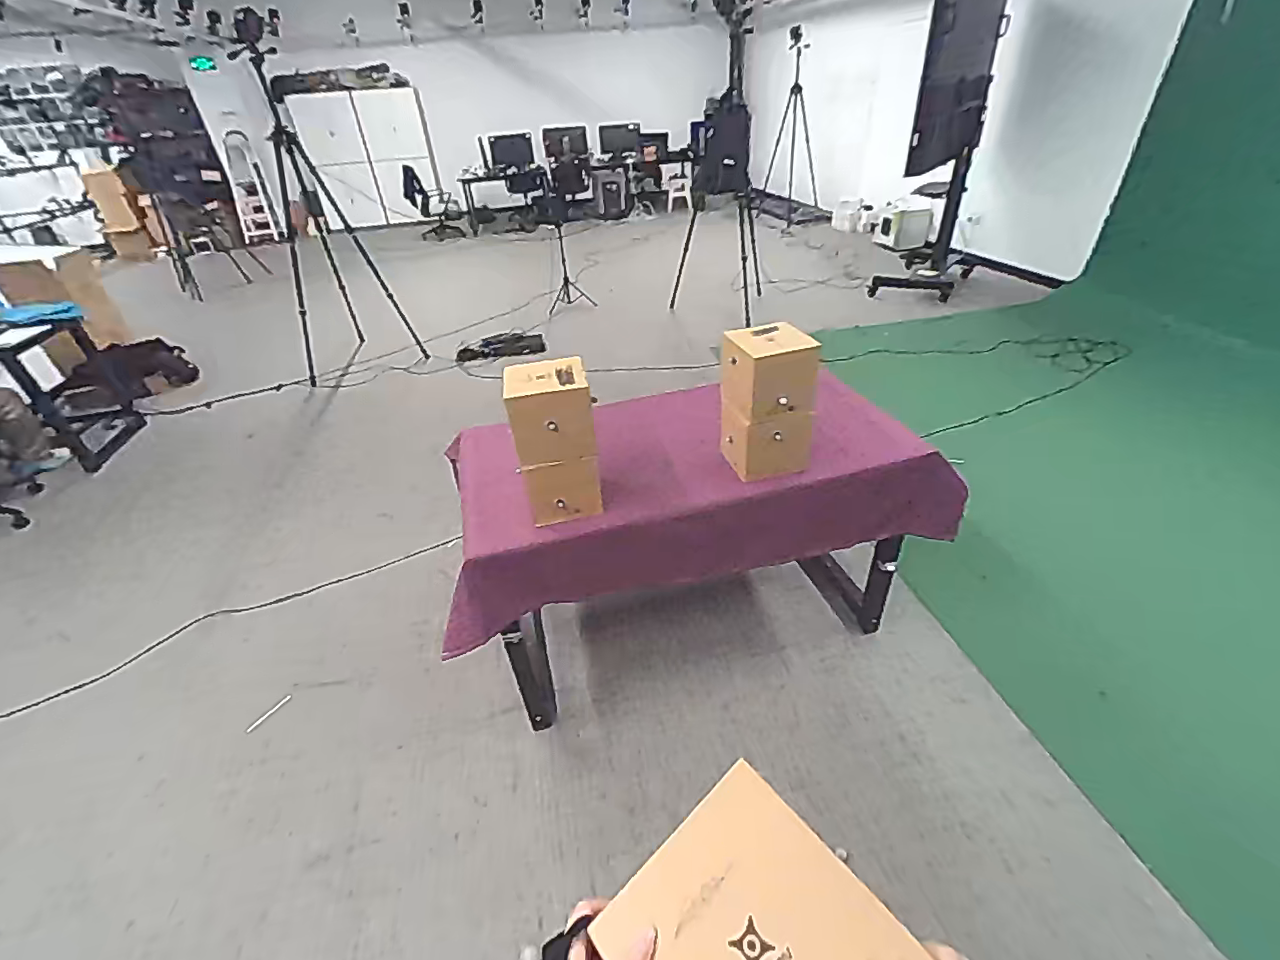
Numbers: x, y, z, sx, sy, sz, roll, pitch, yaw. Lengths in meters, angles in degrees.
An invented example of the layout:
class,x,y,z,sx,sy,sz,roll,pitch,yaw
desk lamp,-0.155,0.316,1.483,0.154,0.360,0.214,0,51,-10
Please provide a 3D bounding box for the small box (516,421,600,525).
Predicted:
class,x,y,z,sx,sy,sz,roll,pitch,yaw
small box,-0.197,-0.019,1.291,0.168,0.176,0.179,-12,37,-10

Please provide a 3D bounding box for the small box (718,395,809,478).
class,x,y,z,sx,sy,sz,roll,pitch,yaw
small box,0.308,-0.123,1.375,0.179,0.176,0.168,-12,37,-9

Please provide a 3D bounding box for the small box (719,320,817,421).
class,x,y,z,sx,sy,sz,roll,pitch,yaw
small box,0.294,-0.261,1.286,0.168,0.176,0.179,-14,37,-11
